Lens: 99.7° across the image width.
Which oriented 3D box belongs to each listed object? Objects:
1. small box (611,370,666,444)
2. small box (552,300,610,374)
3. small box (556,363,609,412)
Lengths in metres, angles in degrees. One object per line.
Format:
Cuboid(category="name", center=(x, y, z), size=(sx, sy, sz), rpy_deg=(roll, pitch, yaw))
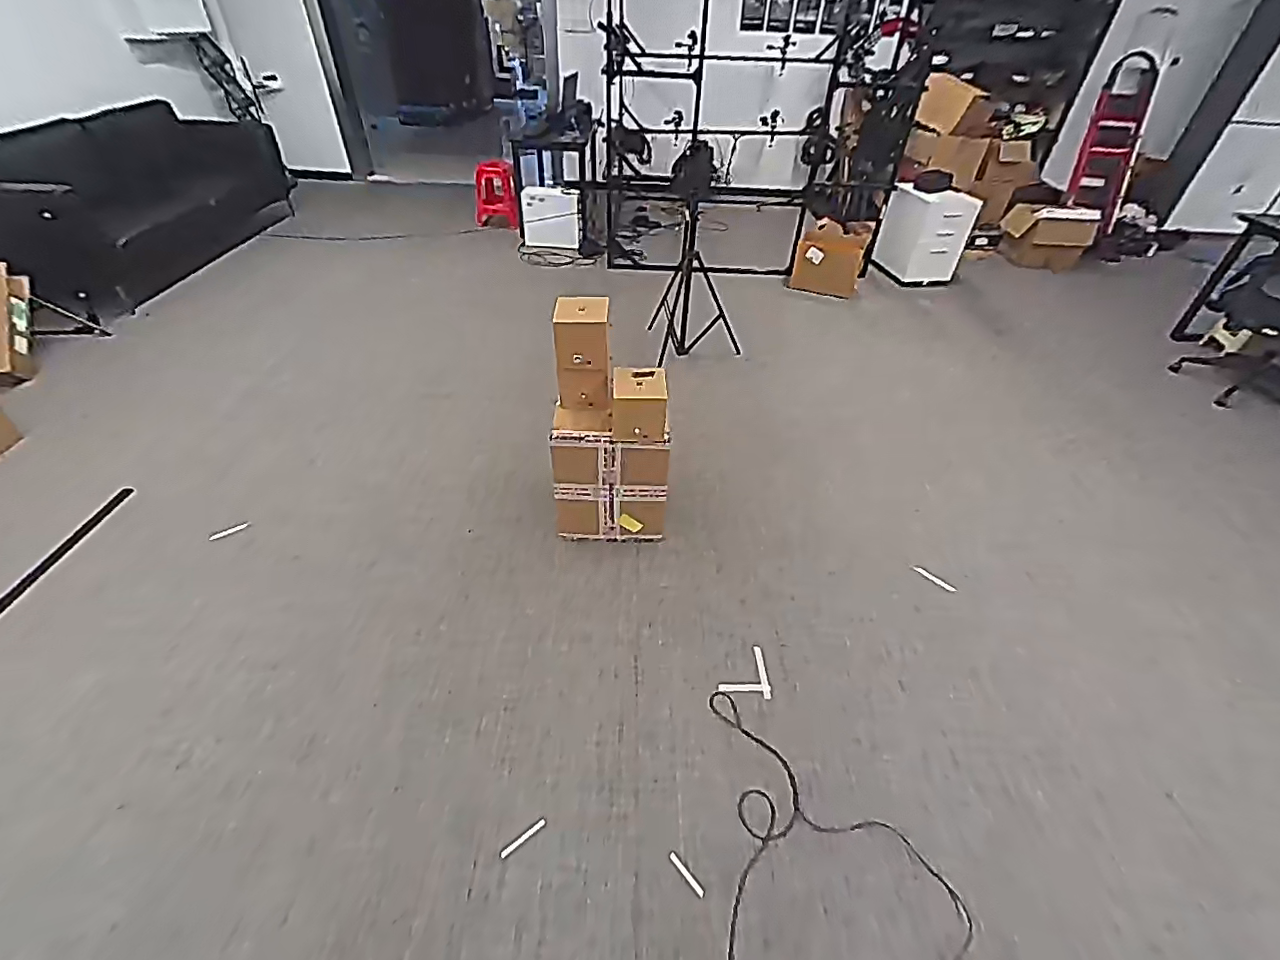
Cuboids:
Cuboid(category="small box", center=(-0.008, -0.234, 1.734), size=(0.168, 0.176, 0.179), rpy_deg=(0, 44, -3))
Cuboid(category="small box", center=(-0.184, -0.459, 1.731), size=(0.168, 0.176, 0.179), rpy_deg=(-1, 44, -1))
Cuboid(category="small box", center=(-0.192, -0.354, 1.857), size=(0.168, 0.176, 0.179), rpy_deg=(0, 43, -1))
